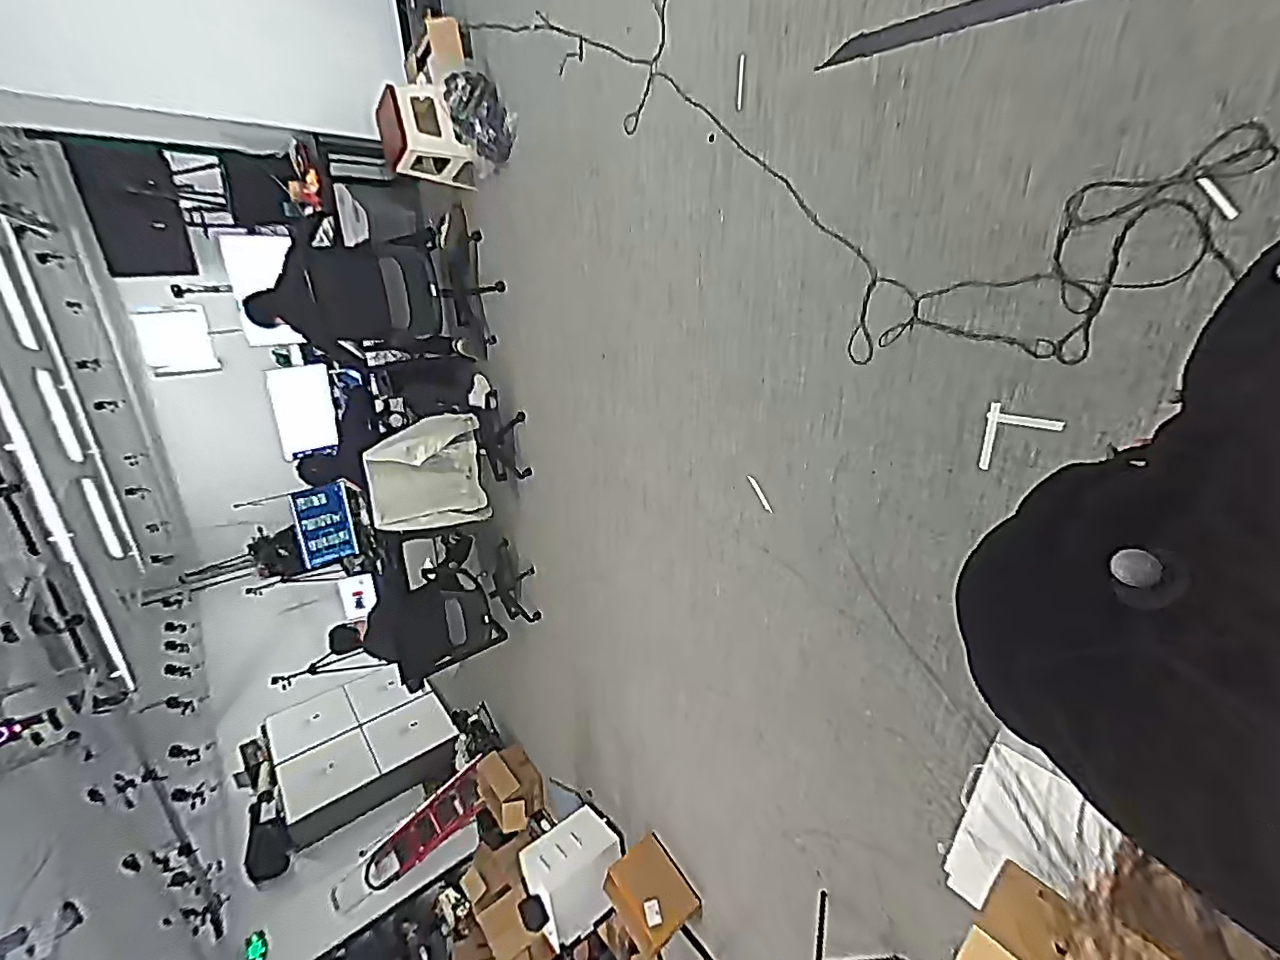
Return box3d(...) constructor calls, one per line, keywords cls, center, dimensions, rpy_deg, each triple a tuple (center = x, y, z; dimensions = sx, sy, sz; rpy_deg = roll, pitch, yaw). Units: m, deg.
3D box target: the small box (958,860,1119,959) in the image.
box3d(cls="small box", center=(0.659, 0.795, 0.903), dimensions=(0.168, 0.176, 0.179), rpy_deg=(27, 124, 45))
